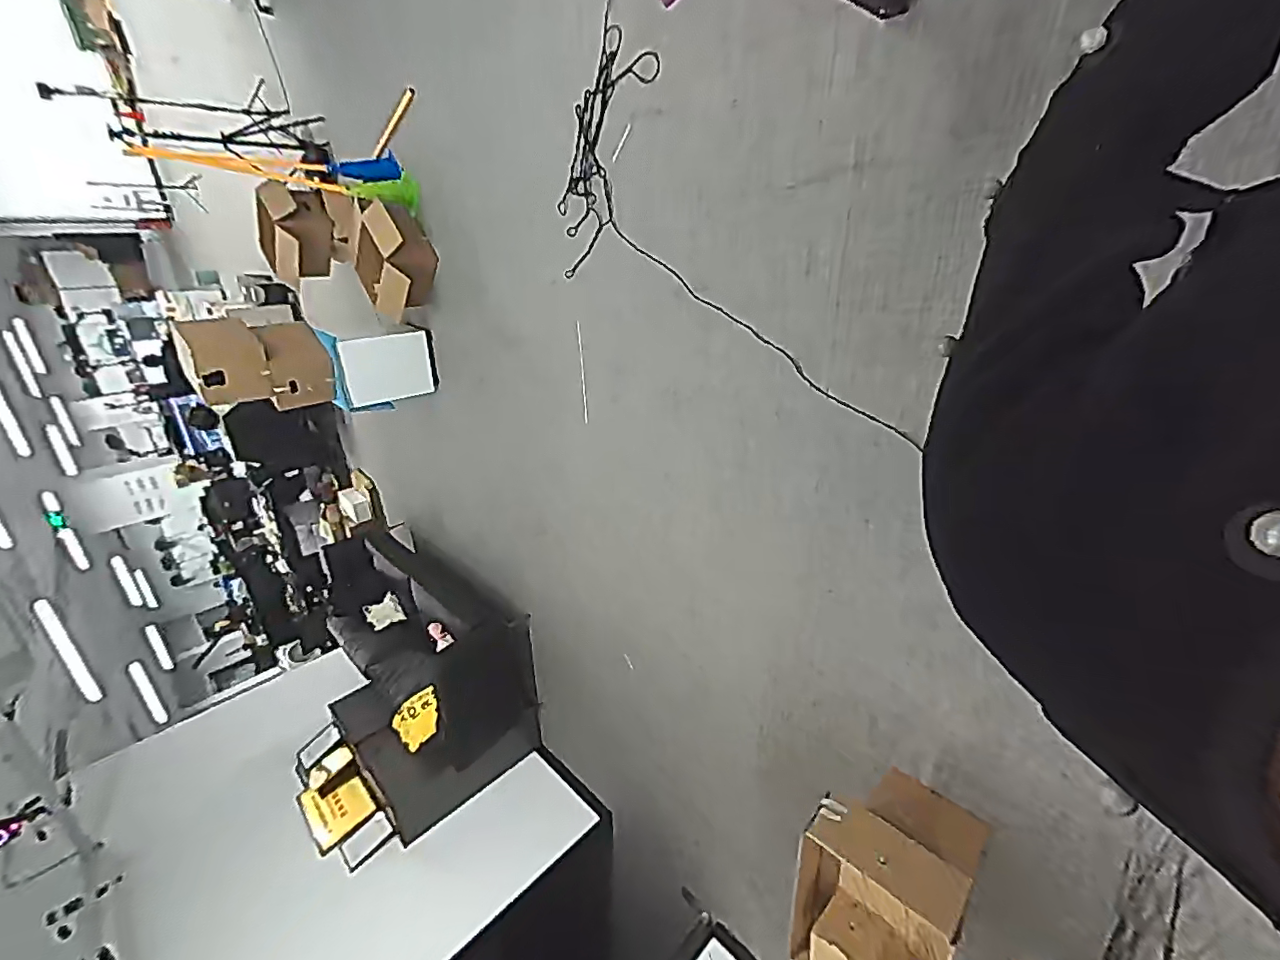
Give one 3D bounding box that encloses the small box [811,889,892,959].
[{"bbox_3d":[0.615,1.353,1.569,0.168,0.176,0.179,15,116,44],"label":"small box"}]
